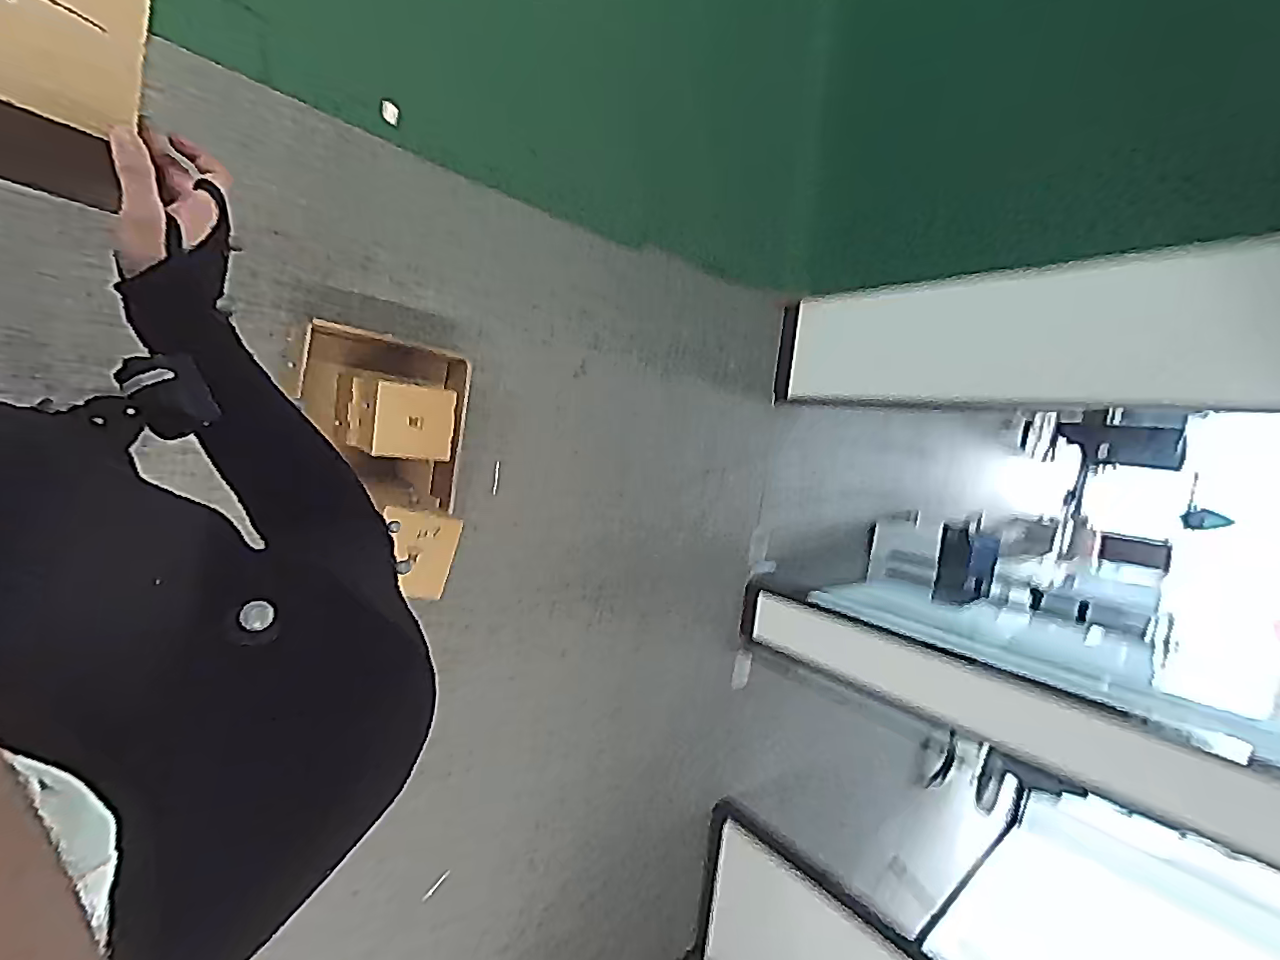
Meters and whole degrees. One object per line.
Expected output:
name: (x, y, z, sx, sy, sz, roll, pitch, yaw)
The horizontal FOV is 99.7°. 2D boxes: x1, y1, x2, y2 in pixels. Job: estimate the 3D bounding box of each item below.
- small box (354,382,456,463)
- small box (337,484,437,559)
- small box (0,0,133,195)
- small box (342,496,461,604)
small box: (-0.560, -0.137, 1.279, 0.179, 0.176, 0.168, 4, 98, -41)
small box: (-0.605, 0.115, 1.282, 0.168, 0.176, 0.179, 11, 91, -40)
small box: (-0.500, -0.343, 0.397, 0.179, 0.176, 0.168, 5, 88, -47)
small box: (-0.512, 0.146, 1.148, 0.168, 0.176, 0.179, 21, 84, -40)
